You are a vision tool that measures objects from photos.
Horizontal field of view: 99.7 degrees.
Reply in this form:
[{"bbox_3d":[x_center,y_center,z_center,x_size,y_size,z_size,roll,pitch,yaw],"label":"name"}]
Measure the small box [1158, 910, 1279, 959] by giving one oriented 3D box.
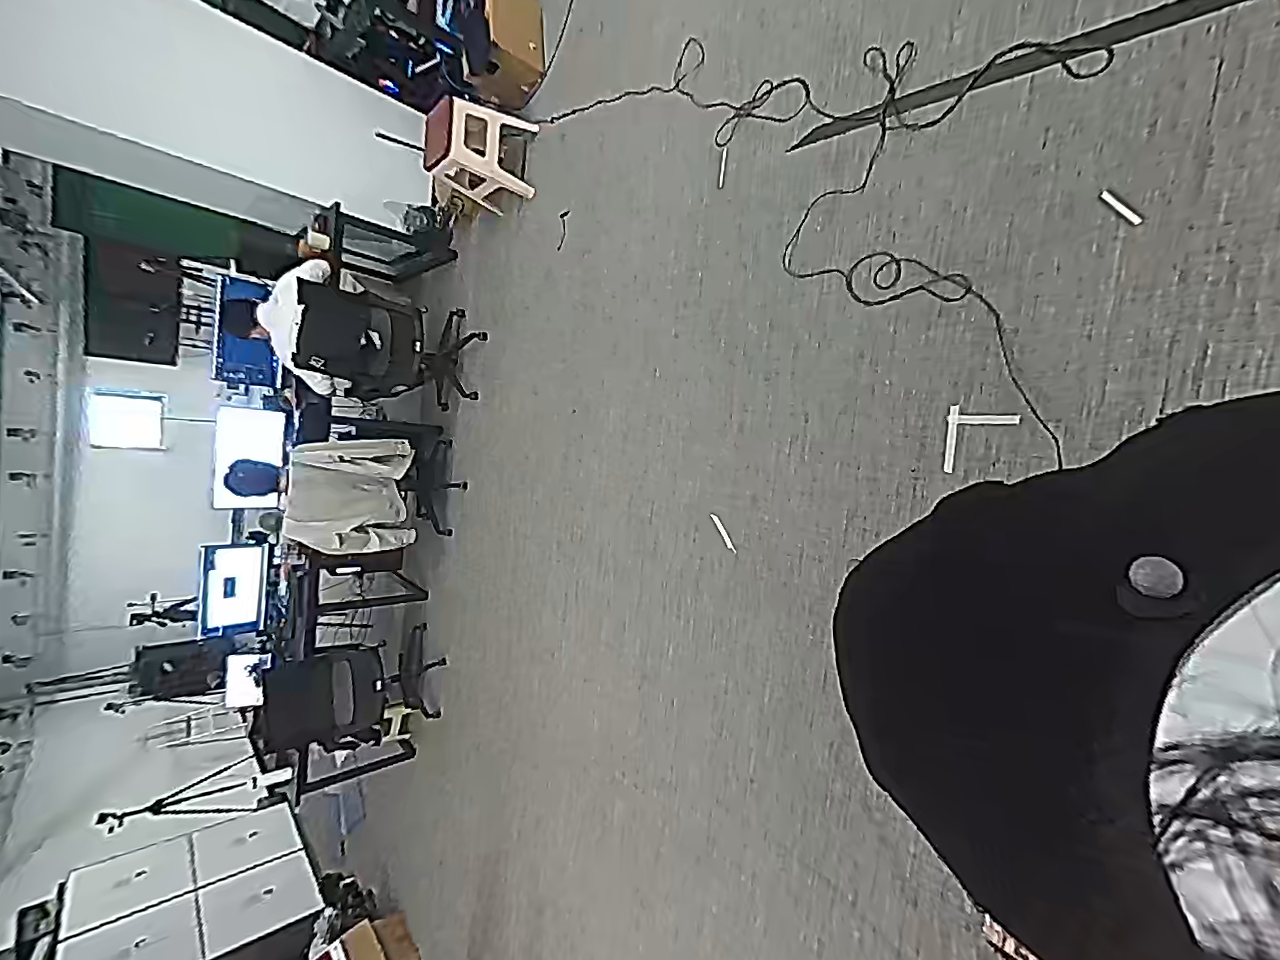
[{"bbox_3d":[0.717,0.673,0.633,0.168,0.176,0.179,12,95,44],"label":"small box"}]
